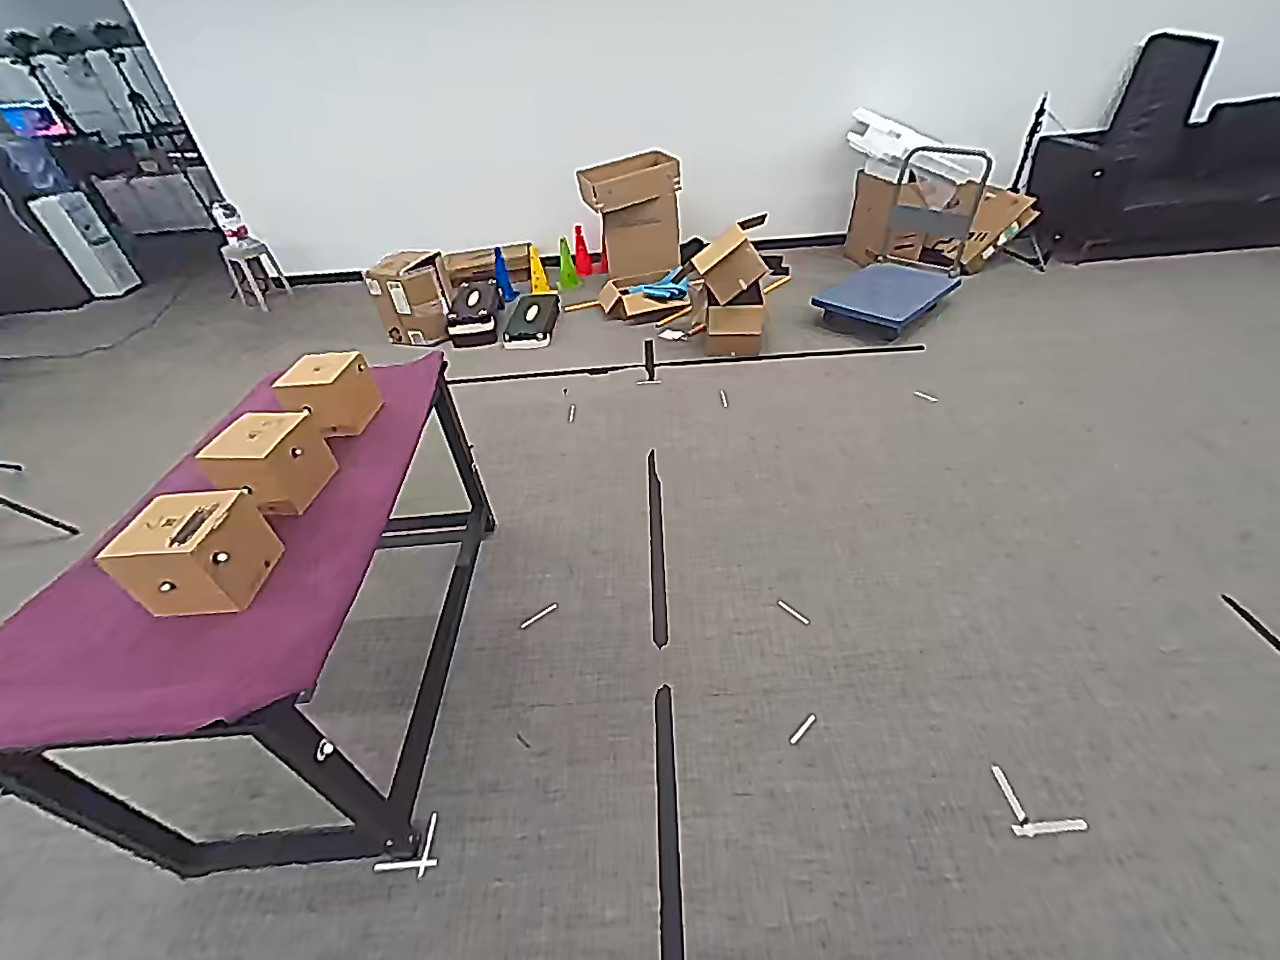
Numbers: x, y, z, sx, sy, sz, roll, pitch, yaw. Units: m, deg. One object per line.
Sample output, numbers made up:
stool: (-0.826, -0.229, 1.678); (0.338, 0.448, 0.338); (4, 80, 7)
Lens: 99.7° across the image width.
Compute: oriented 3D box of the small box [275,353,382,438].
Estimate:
small box: (-0.838, -0.226, 1.478); (0.168, 0.176, 0.179); (-3, 39, 5)

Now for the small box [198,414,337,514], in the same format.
small box: (-0.842, -0.035, 1.247); (0.168, 0.176, 0.179); (1, 40, 7)
